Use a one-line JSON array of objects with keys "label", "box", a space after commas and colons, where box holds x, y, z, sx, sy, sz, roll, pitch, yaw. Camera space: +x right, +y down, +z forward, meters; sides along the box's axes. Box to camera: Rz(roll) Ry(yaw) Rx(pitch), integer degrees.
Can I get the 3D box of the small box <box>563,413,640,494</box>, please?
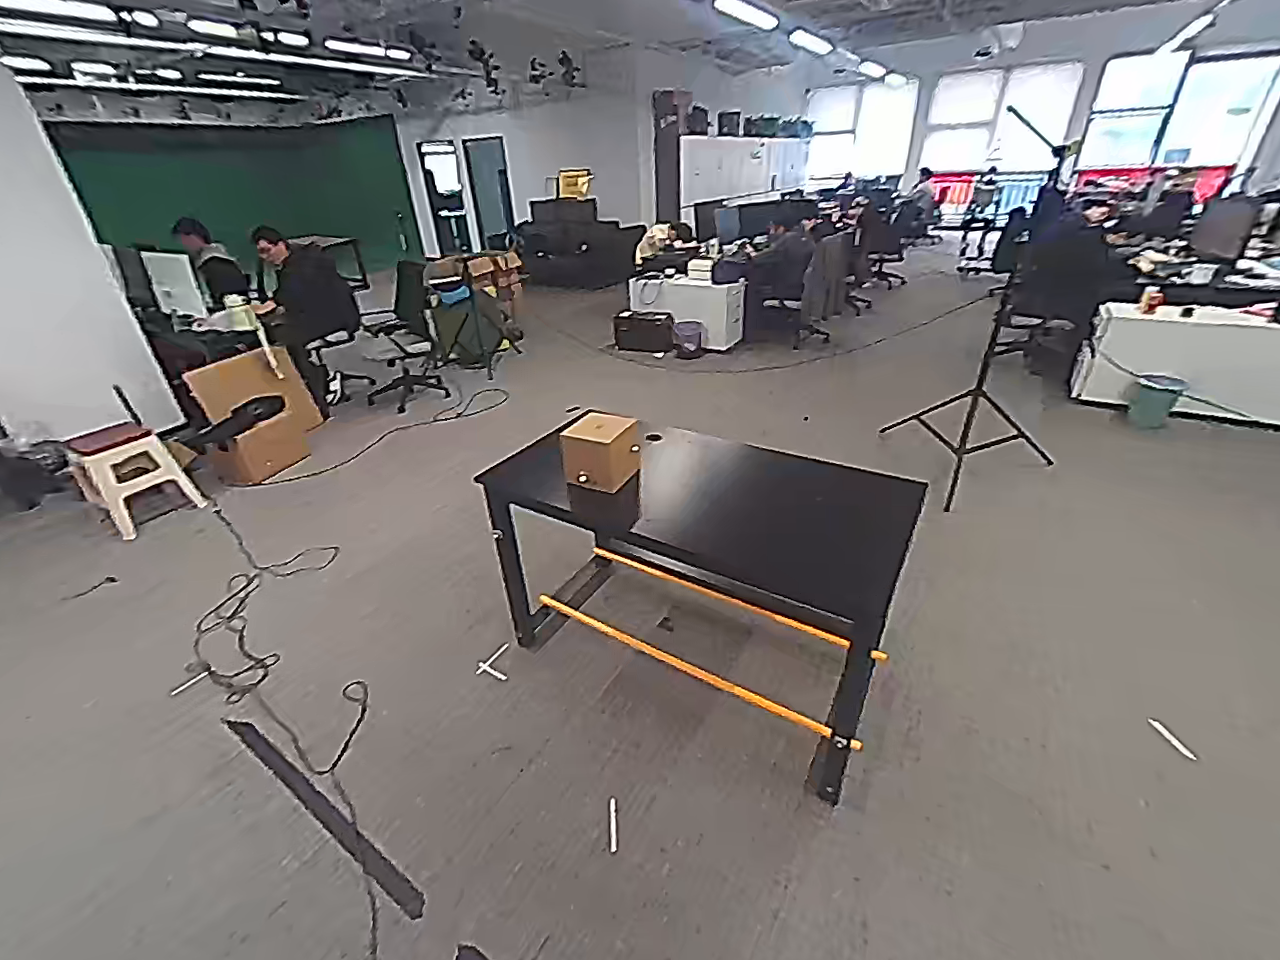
[{"label": "small box", "box": [-0.110, -0.081, 1.617, 0.168, 0.176, 0.179, 11, 34, 25]}]
